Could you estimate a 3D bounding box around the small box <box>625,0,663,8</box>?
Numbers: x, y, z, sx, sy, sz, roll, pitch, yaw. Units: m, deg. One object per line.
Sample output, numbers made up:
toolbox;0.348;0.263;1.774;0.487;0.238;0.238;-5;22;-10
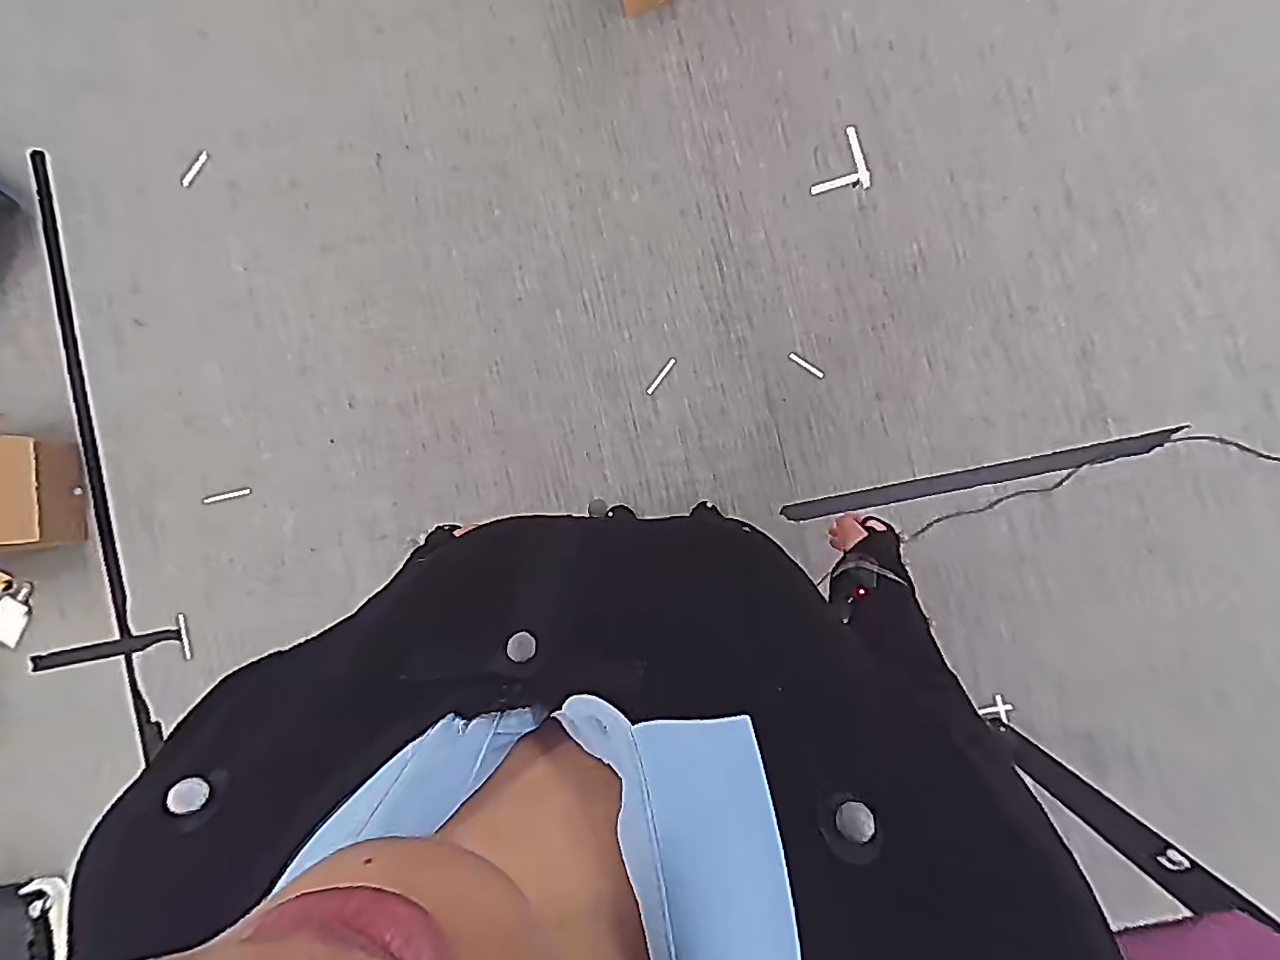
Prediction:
small box;0.016;-1.423;1.449;0.168;0.176;0.179;-17;87;5
